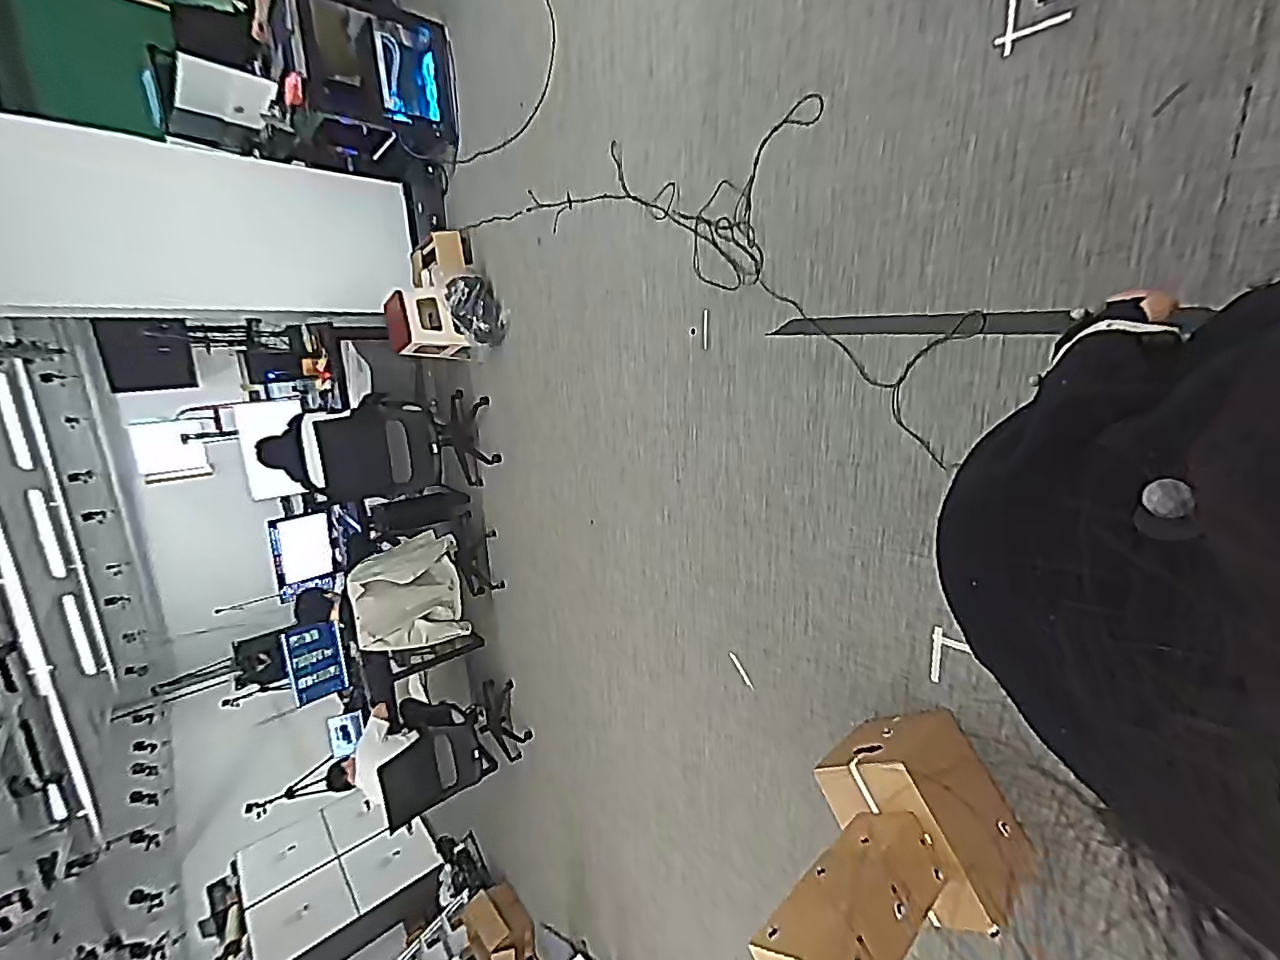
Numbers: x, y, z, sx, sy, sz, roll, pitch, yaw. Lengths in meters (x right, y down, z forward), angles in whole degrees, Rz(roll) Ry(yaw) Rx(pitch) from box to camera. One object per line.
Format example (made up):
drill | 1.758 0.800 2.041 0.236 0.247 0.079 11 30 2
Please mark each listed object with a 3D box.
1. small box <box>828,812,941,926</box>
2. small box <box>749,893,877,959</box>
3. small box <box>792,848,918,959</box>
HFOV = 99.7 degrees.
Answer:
small box | 0.613 0.954 1.343 0.179 0.176 0.168 -43 68 48
small box | 0.370 1.011 1.132 0.179 0.176 0.168 -40 71 48
small box | 0.493 0.980 1.237 0.179 0.176 0.168 -39 72 47
